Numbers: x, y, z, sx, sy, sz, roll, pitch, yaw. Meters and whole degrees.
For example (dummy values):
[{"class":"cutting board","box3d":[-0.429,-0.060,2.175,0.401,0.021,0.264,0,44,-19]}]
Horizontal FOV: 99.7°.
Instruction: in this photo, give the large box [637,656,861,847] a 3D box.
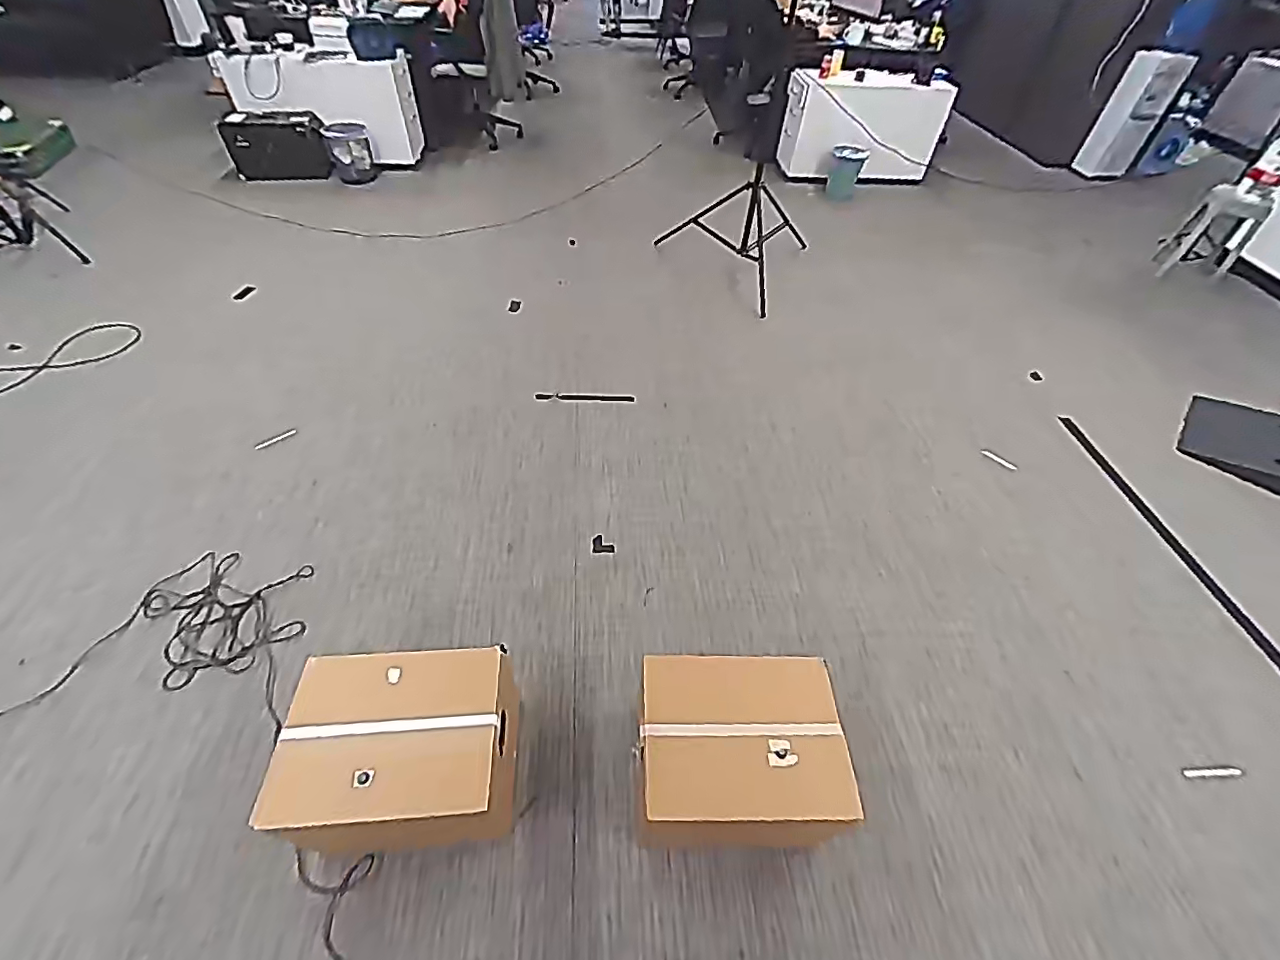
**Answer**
[{"class":"large box","box3d":[0.204,0.605,1.205,0.408,0.320,0.320,2,48,-3]}]
